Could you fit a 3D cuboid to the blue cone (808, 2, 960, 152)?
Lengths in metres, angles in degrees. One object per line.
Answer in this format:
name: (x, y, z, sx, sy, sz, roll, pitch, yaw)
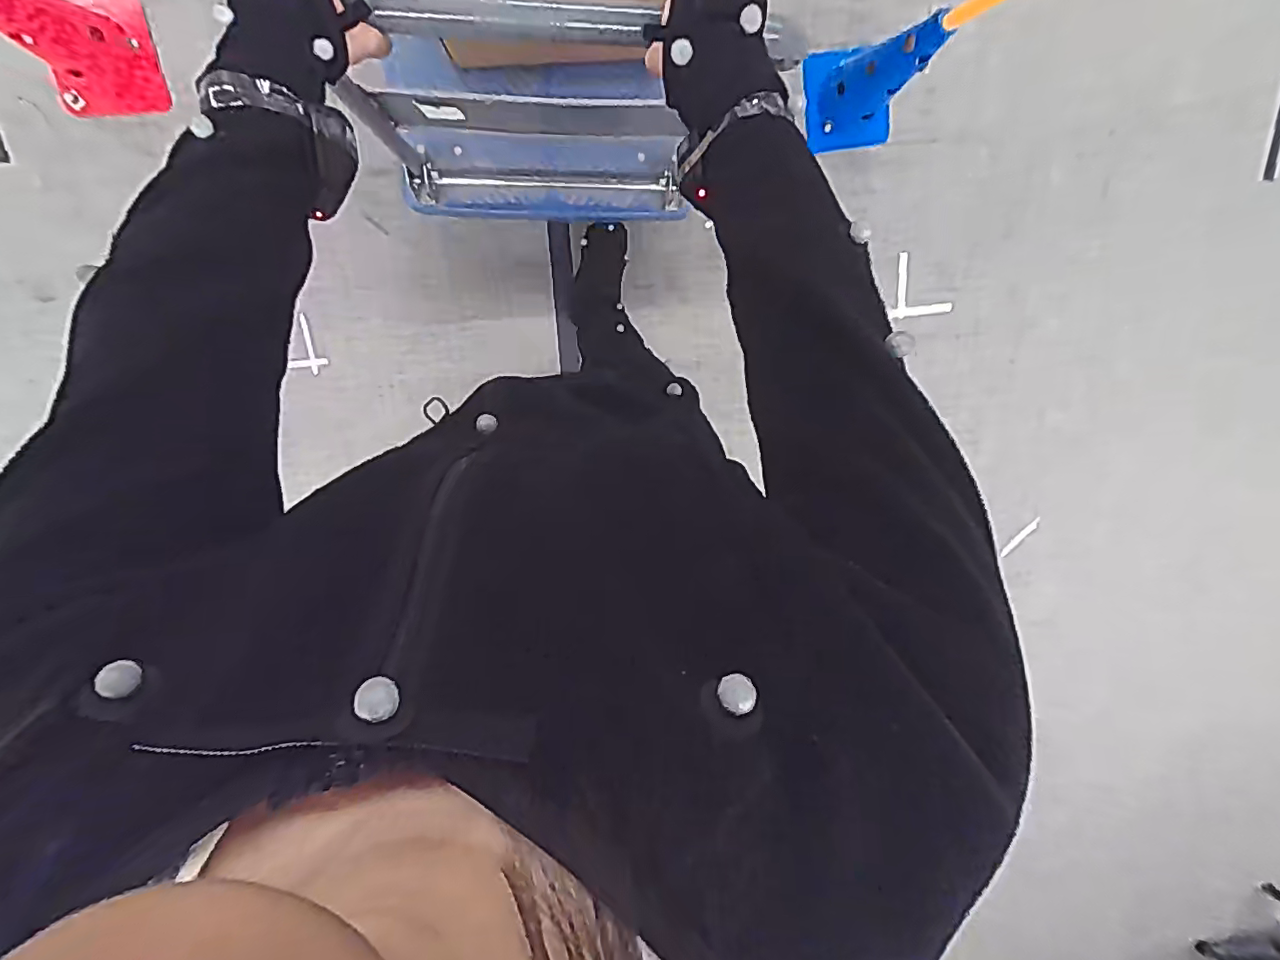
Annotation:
blue cone: (0.500, -0.820, 1.083, 0.193, 0.380, 0.192, -9, 107, -5)
